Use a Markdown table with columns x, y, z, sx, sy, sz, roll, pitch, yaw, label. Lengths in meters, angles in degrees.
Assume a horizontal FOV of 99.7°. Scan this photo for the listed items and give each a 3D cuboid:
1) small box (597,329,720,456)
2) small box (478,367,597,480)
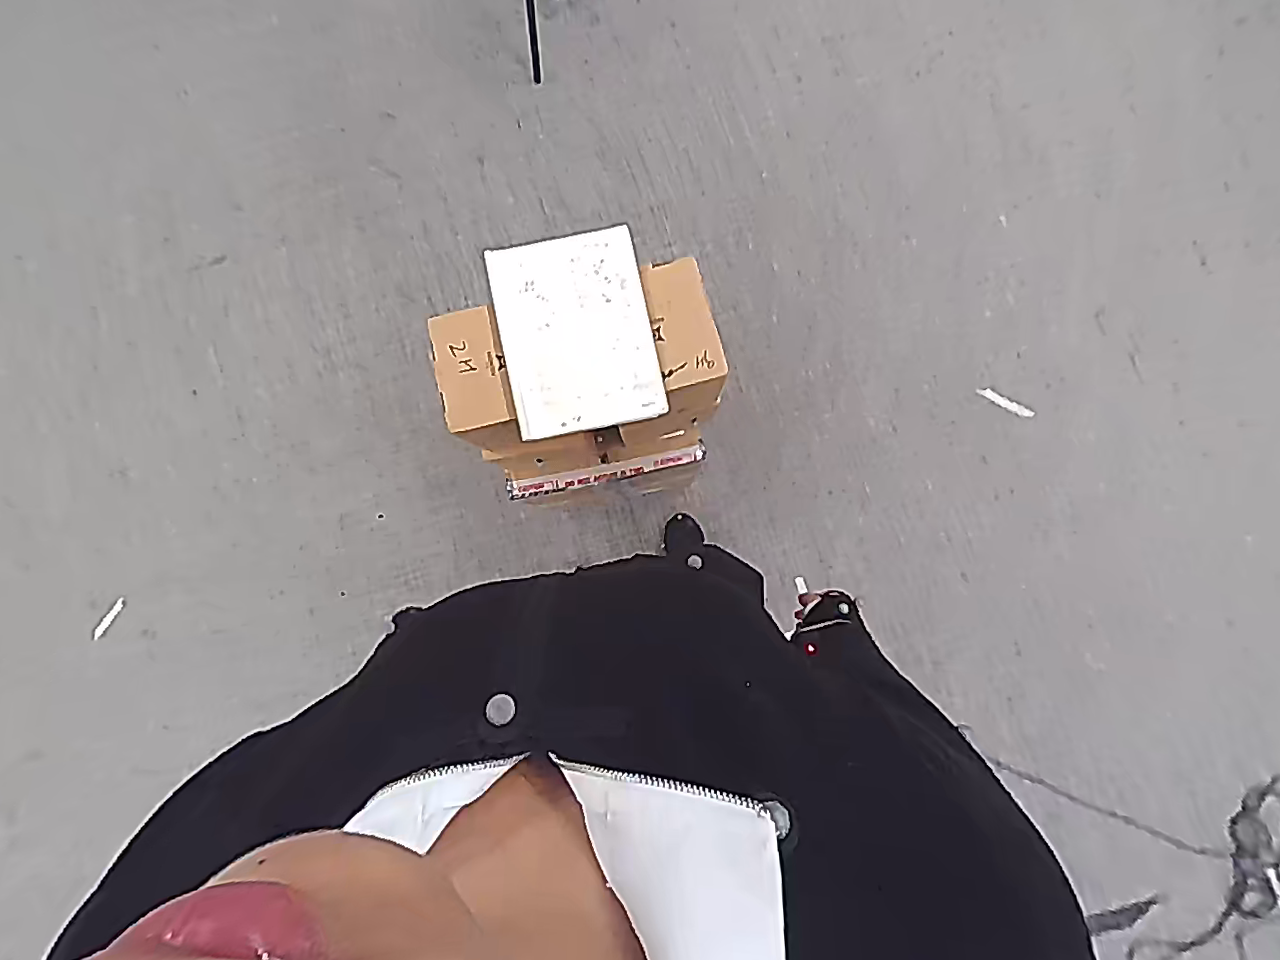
| x | y | z | sx | sy | sz | roll | pitch | yaw | label |
| --- | --- | --- | --- | --- | --- | --- | --- | --- | --- |
| 0.031 | -0.151 | 0.990 | 0.179 | 0.176 | 0.168 | -17 | 84 | 0 | small box |
| -0.177 | -0.096 | 0.991 | 0.179 | 0.176 | 0.168 | -8 | 85 | 3 | small box |
